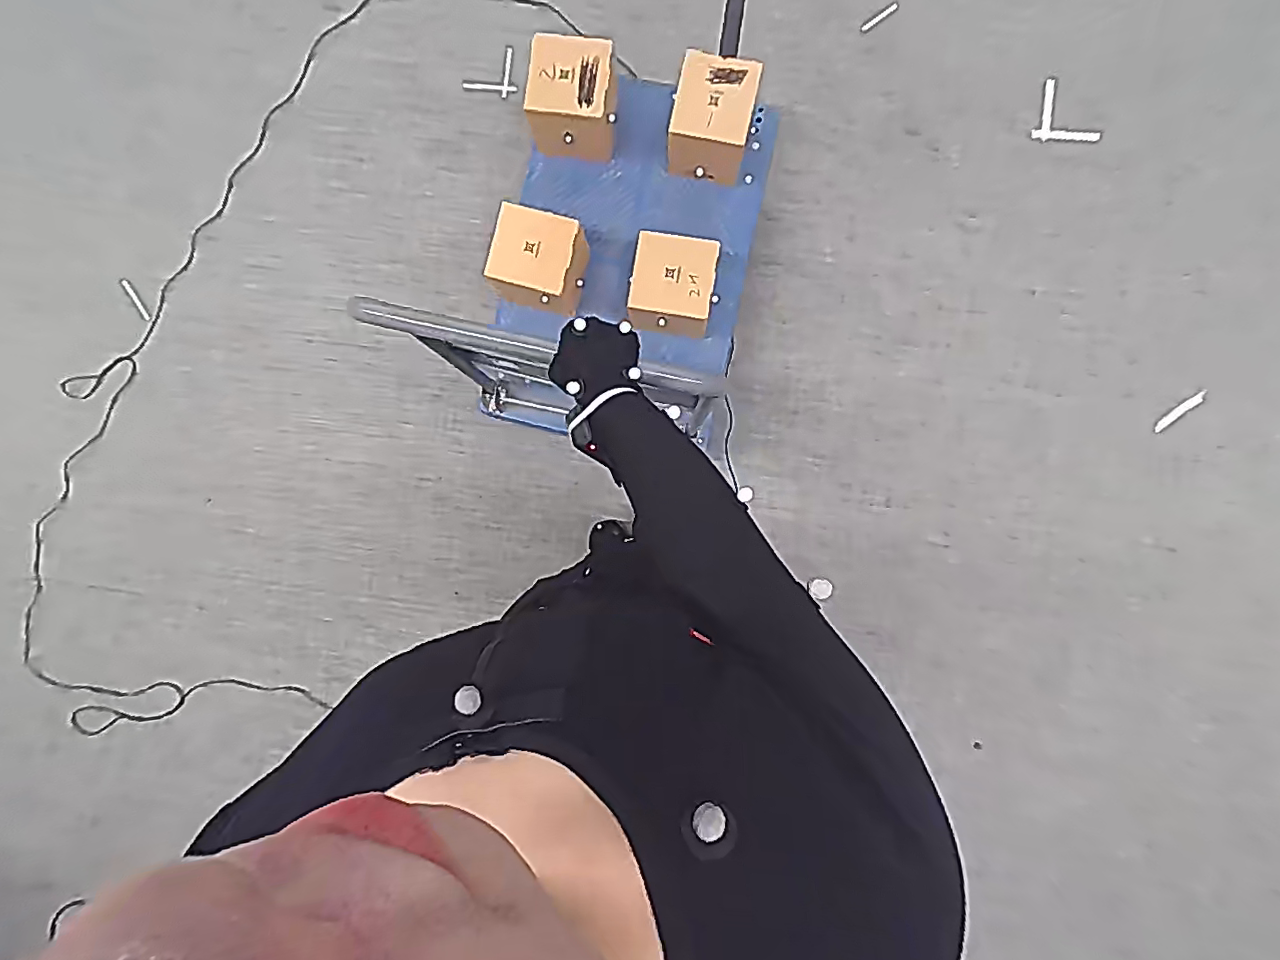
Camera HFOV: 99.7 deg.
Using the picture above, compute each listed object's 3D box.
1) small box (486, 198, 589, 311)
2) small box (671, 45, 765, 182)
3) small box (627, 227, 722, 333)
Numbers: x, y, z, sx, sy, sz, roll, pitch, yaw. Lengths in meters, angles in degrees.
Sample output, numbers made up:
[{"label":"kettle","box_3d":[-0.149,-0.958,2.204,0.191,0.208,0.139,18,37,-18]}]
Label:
[{"label":"small box","box_3d":[-0.226,-0.503,1.232,0.179,0.176,0.168,15,91,1]},{"label":"small box","box_3d":[0.165,-0.807,1.204,0.168,0.176,0.179,13,93,3]},{"label":"small box","box_3d":[0.077,-0.441,1.216,0.179,0.176,0.168,10,92,3]}]
